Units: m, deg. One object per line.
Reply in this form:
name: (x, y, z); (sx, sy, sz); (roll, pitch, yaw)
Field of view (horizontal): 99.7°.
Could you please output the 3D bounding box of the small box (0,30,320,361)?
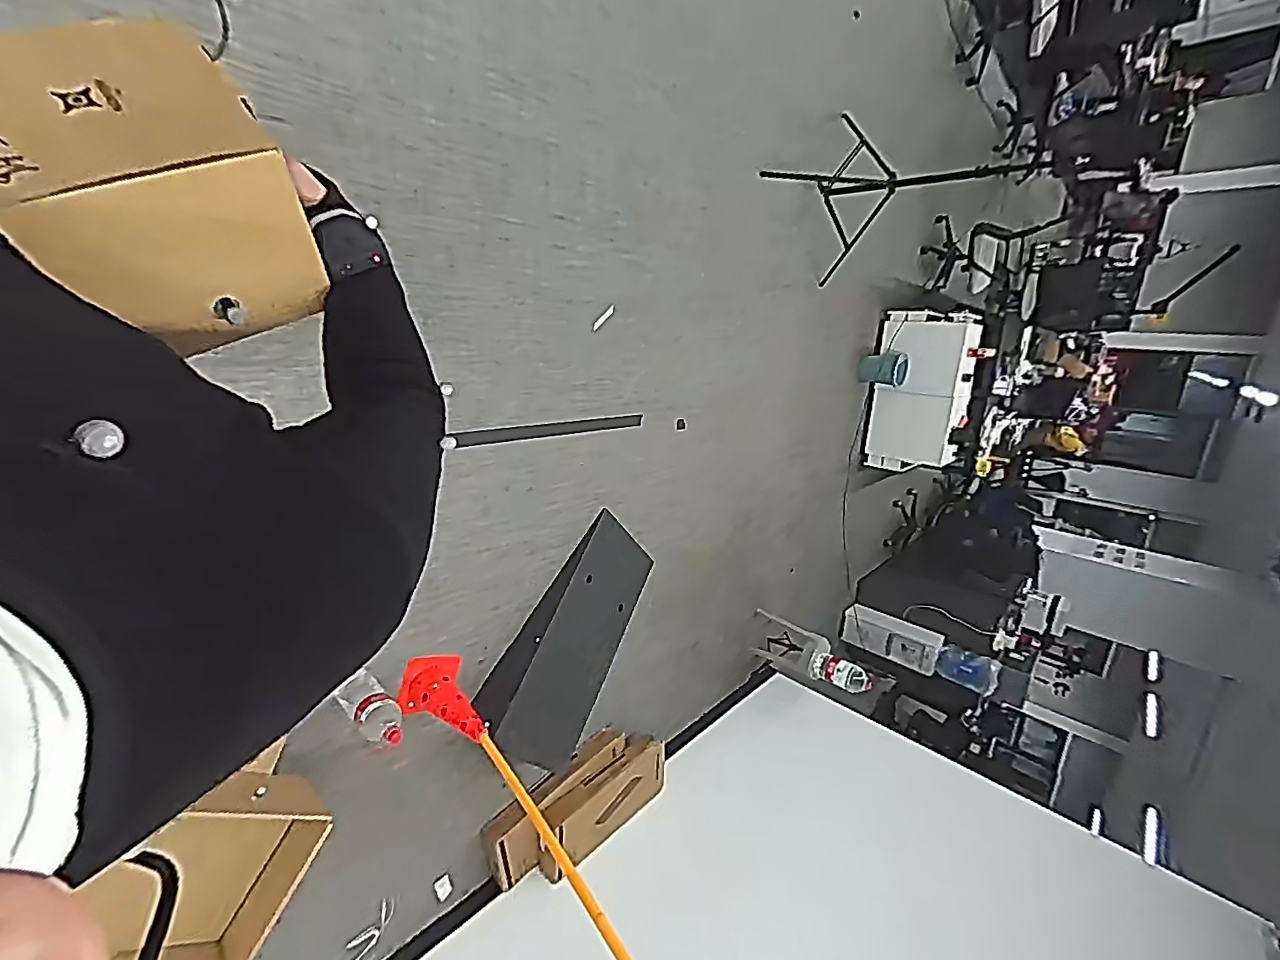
small box: (-0.408, -0.237, 0.466); (0.179, 0.168, 0.176); (-33, 166, -26)
